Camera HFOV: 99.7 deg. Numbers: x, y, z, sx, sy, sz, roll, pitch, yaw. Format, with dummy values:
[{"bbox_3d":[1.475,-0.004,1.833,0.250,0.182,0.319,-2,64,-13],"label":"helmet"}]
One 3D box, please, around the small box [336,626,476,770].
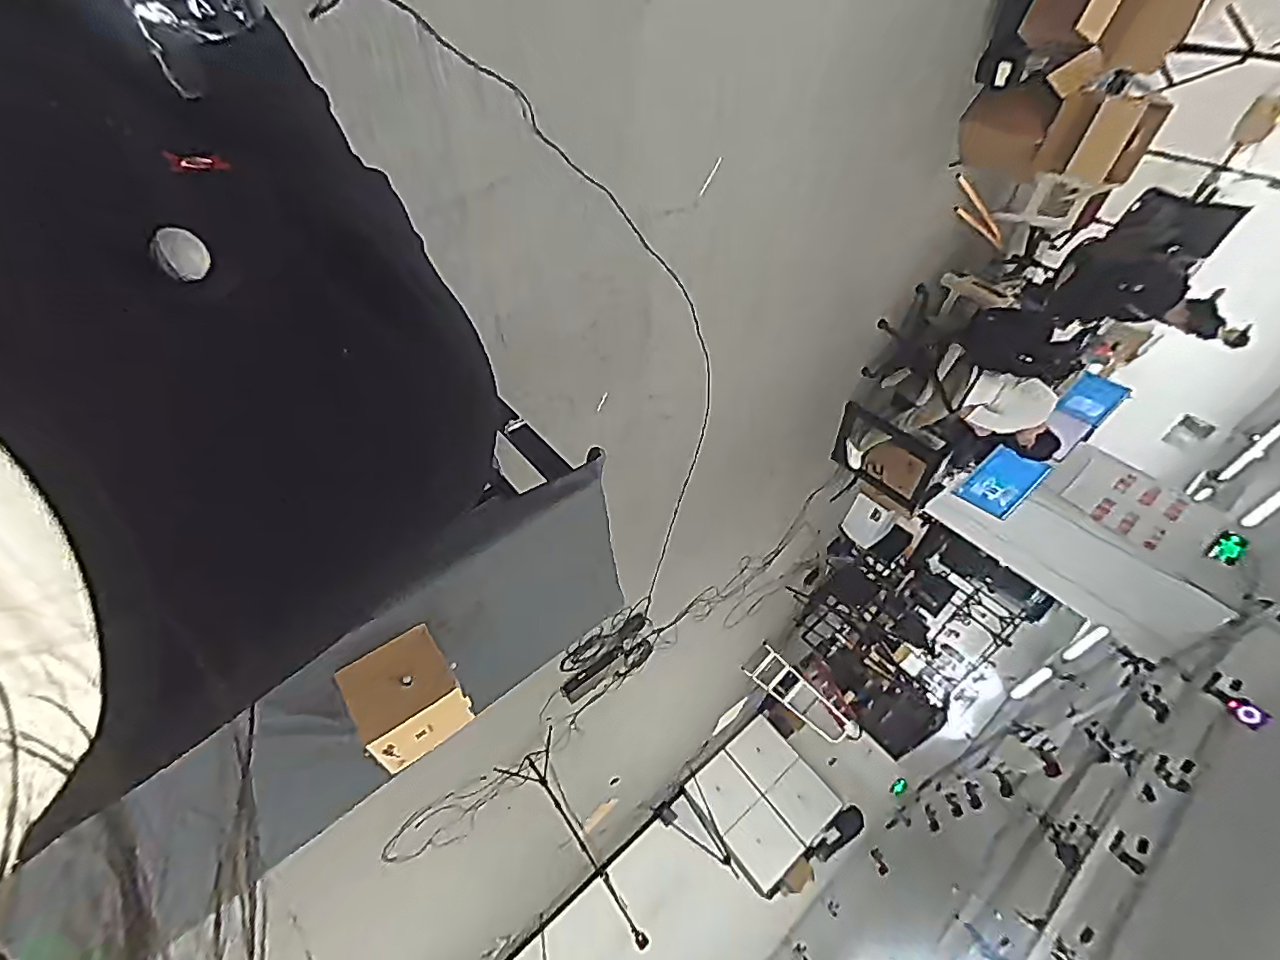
[{"bbox_3d":[-0.454,0.421,1.060,0.179,0.176,0.168,-31,146,-24],"label":"small box"}]
